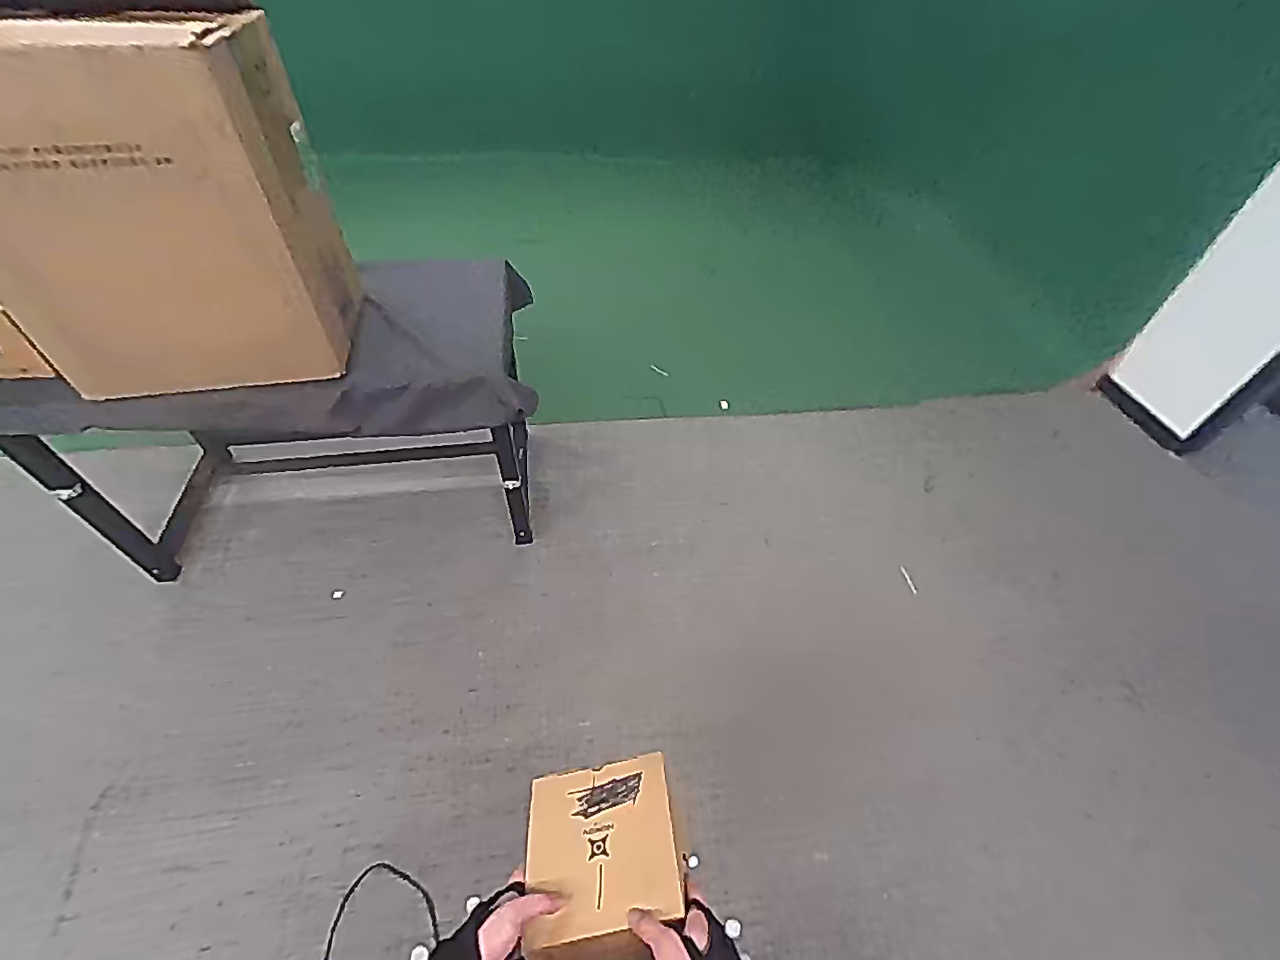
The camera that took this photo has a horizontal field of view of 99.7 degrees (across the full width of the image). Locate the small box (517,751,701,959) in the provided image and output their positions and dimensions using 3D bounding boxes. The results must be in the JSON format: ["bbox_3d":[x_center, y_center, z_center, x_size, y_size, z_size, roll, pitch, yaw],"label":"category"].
[{"bbox_3d":[-0.032,0.465,0.642,0.168,0.176,0.179,-14,30,2],"label":"small box"}]
